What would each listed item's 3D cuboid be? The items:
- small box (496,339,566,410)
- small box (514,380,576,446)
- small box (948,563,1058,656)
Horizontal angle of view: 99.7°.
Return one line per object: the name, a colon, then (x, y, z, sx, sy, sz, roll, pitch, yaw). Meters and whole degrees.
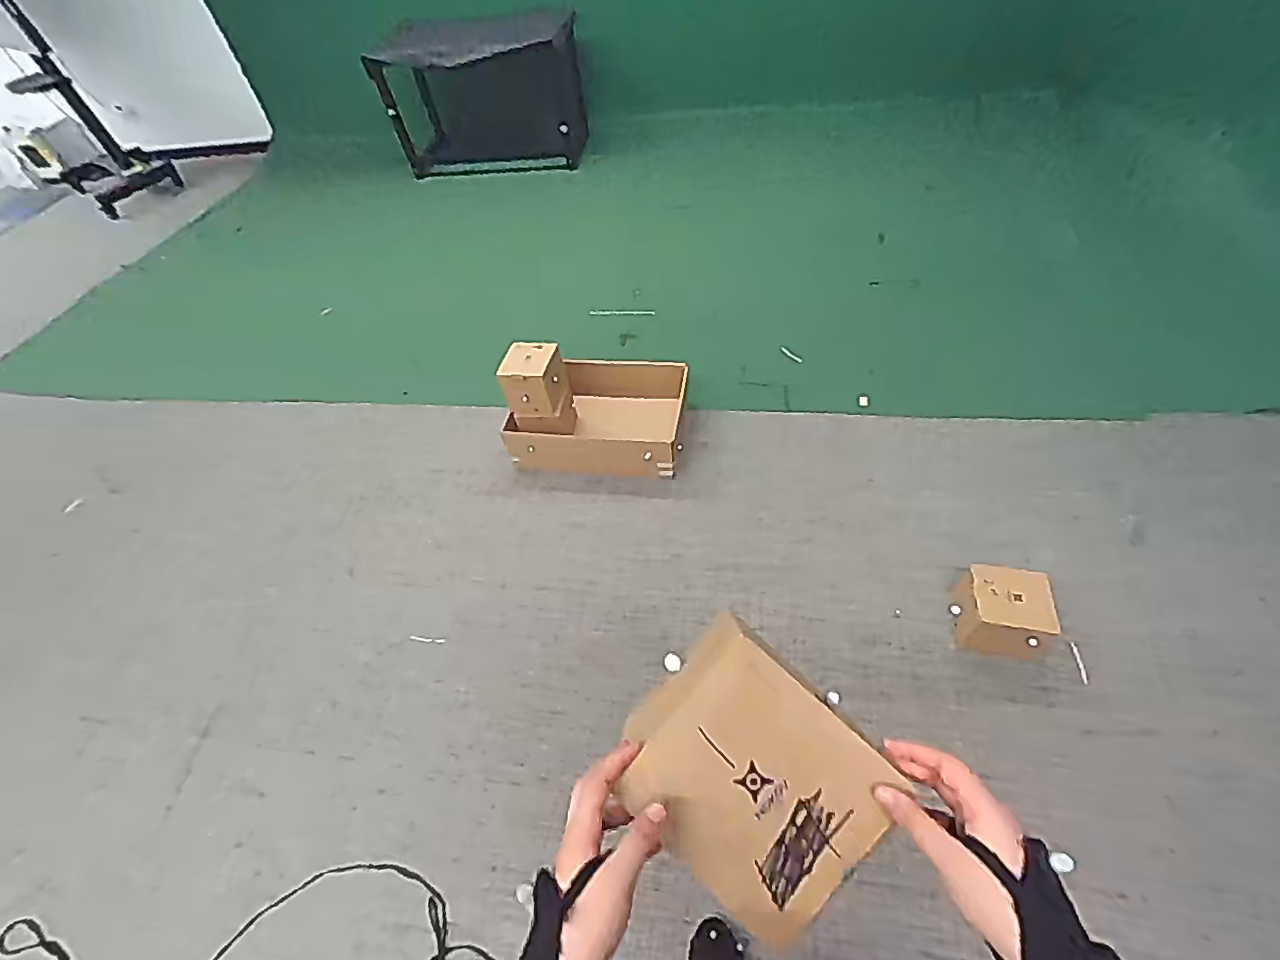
small box: (-0.363, -0.357, 1.844, 0.168, 0.176, 0.179, 5, 54, 12)
small box: (-0.337, -0.246, 1.962, 0.168, 0.176, 0.179, 1, 53, 9)
small box: (0.923, 0.336, 1.391, 0.179, 0.176, 0.168, 7, 52, 13)
